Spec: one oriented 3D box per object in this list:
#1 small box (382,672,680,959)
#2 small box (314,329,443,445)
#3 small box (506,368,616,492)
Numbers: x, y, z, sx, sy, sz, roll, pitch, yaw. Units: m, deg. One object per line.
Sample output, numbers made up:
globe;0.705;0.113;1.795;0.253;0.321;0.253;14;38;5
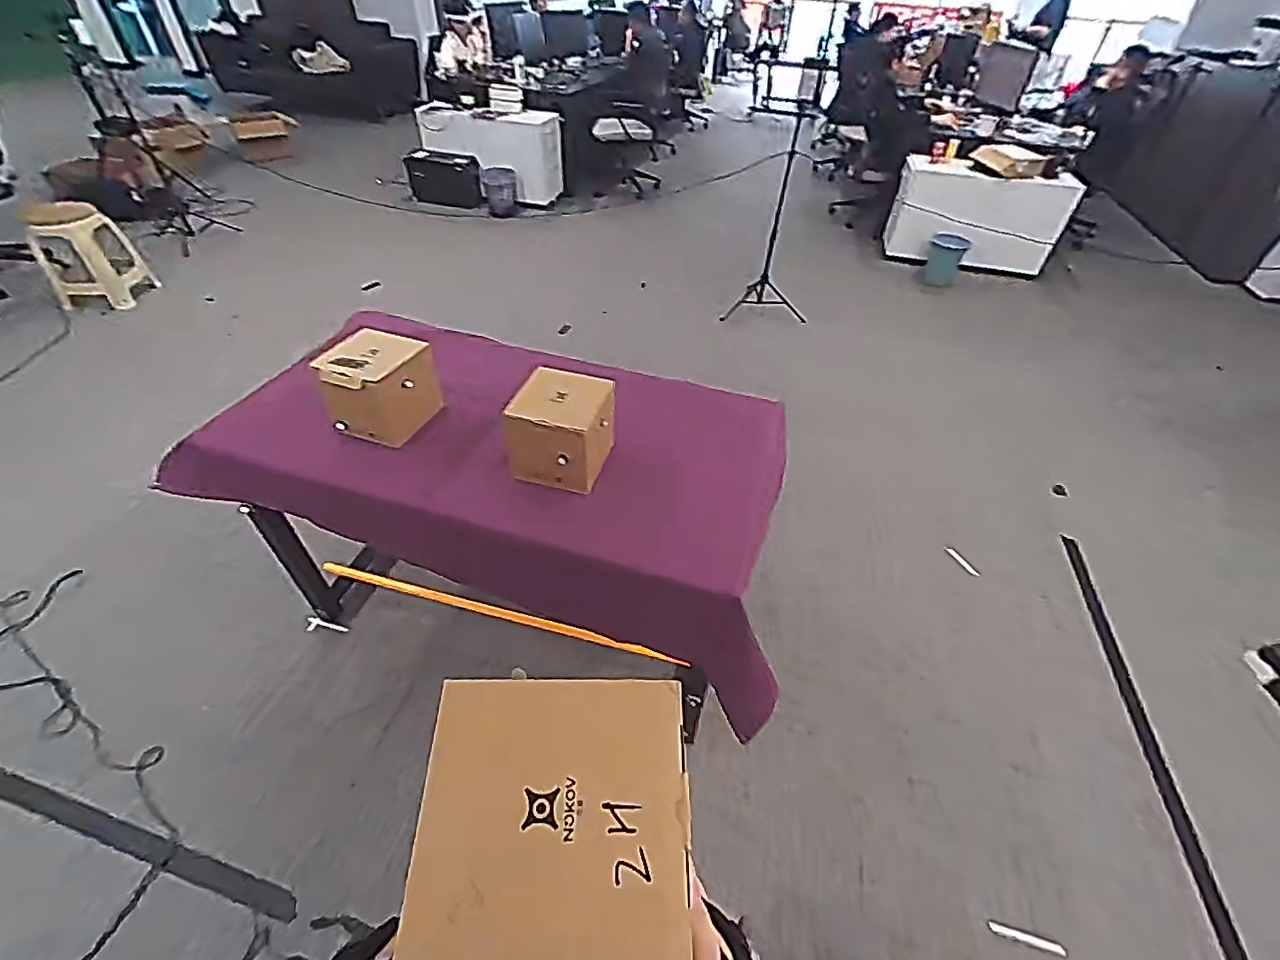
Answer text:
small box;-0.065;0.255;0.422;0.179;0.176;0.168;1;57;-3
small box;-0.555;-0.202;1.180;0.168;0.176;0.179;16;44;12
small box;-0.151;-0.100;1.104;0.168;0.176;0.179;14;44;9
